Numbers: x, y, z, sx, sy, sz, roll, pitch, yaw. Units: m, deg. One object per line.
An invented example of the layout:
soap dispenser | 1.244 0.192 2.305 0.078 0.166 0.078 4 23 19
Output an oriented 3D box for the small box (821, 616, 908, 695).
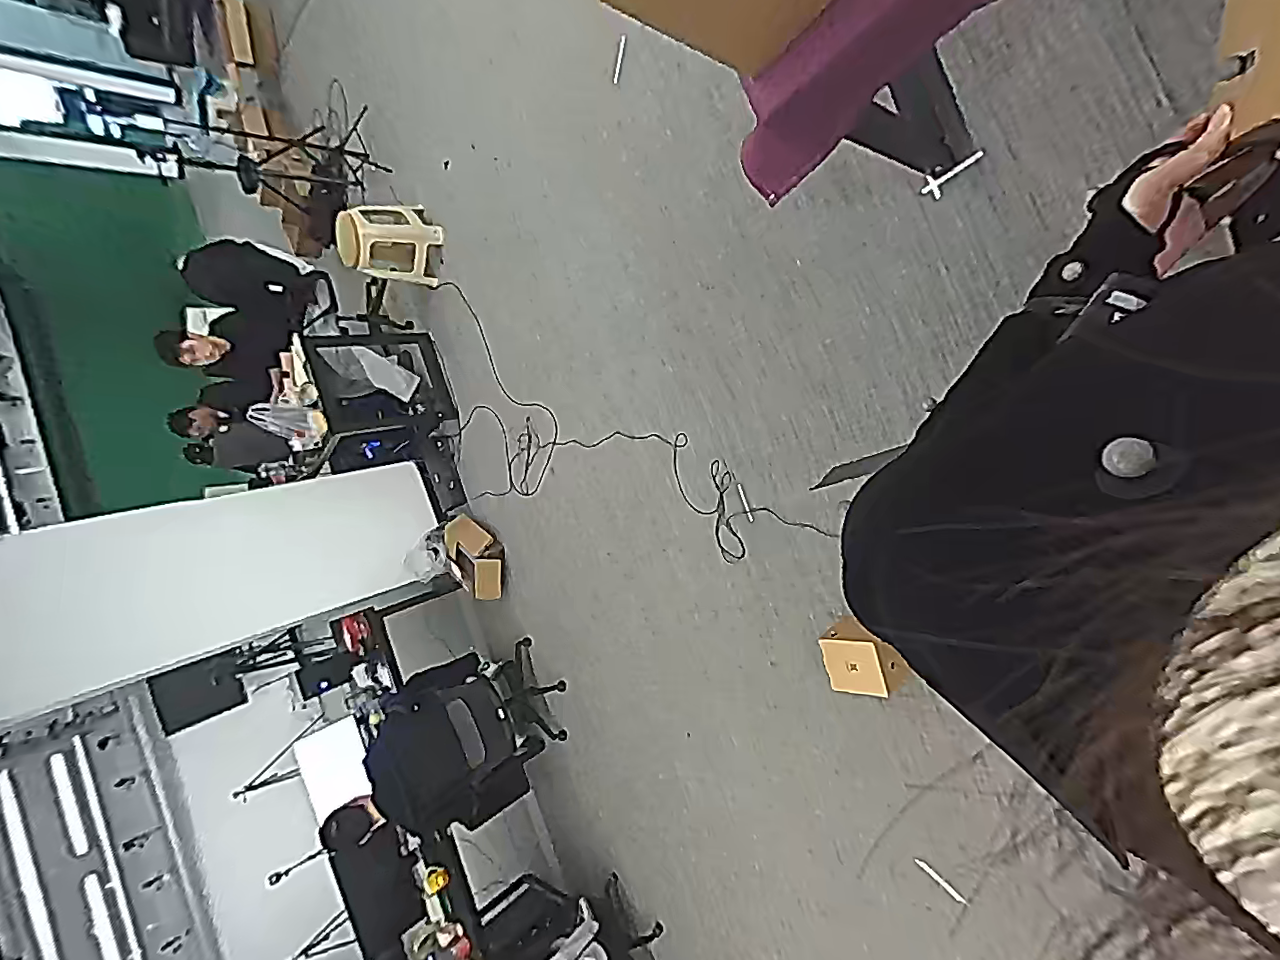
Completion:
small box | 0.675 0.515 1.613 0.179 0.176 0.168 -14 93 49
